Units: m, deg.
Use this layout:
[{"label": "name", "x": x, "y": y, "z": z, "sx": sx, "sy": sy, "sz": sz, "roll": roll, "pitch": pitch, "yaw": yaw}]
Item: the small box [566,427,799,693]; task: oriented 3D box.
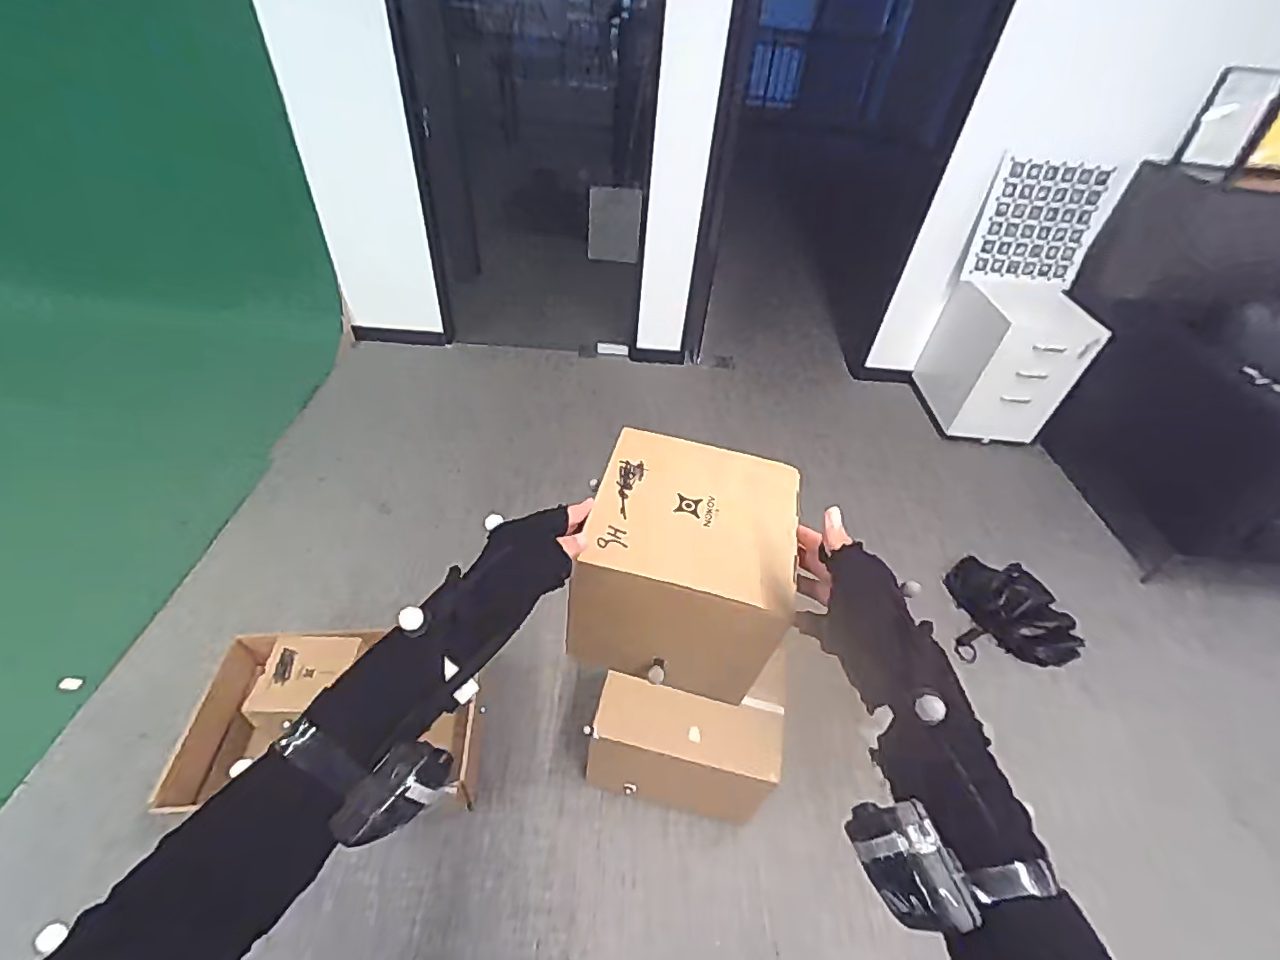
[{"label": "small box", "x": 0.038, "y": 0.081, "z": 0.520, "sx": 0.179, "sy": 0.176, "sz": 0.168, "roll": 15, "pitch": 44, "yaw": 3}]

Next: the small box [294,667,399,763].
[{"label": "small box", "x": -0.703, "y": 0.566, "z": 1.298, "sx": 0.179, "sy": 0.176, "sz": 0.168, "roll": 2, "pitch": 44, "yaw": -7}]

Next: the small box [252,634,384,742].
[{"label": "small box", "x": -0.686, "y": 0.454, "z": 1.177, "sx": 0.179, "sy": 0.176, "sz": 0.168, "roll": 3, "pitch": 43, "yaw": -5}]
